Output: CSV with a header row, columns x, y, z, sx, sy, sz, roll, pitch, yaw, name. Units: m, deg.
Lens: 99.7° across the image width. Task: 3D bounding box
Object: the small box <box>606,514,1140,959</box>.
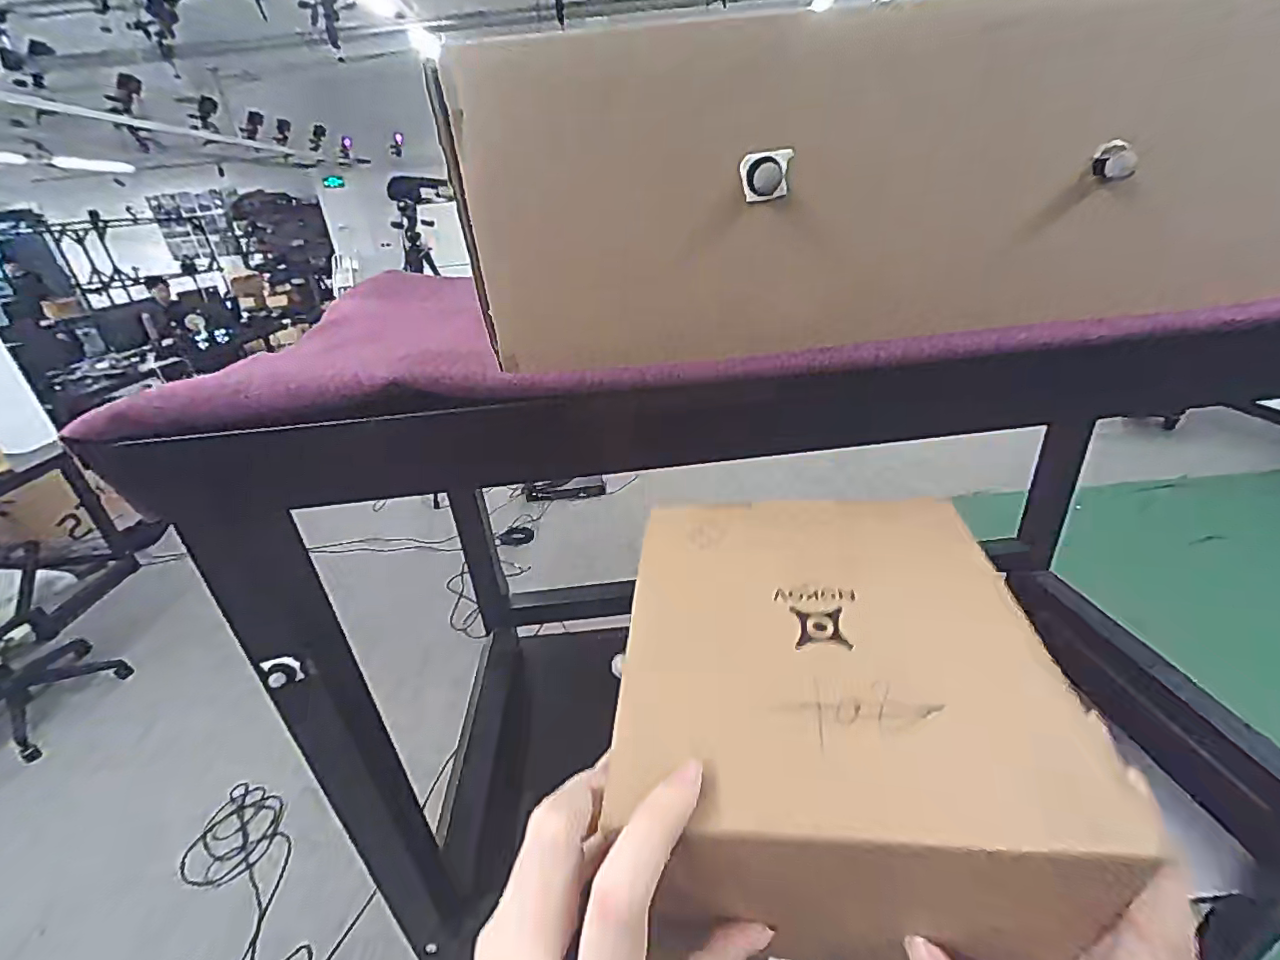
x,y,z,sx,sy,sz,roll,pitch,yaw,name
0.086,0.137,0.284,0.168,0.176,0.179,-3,34,9,small box
